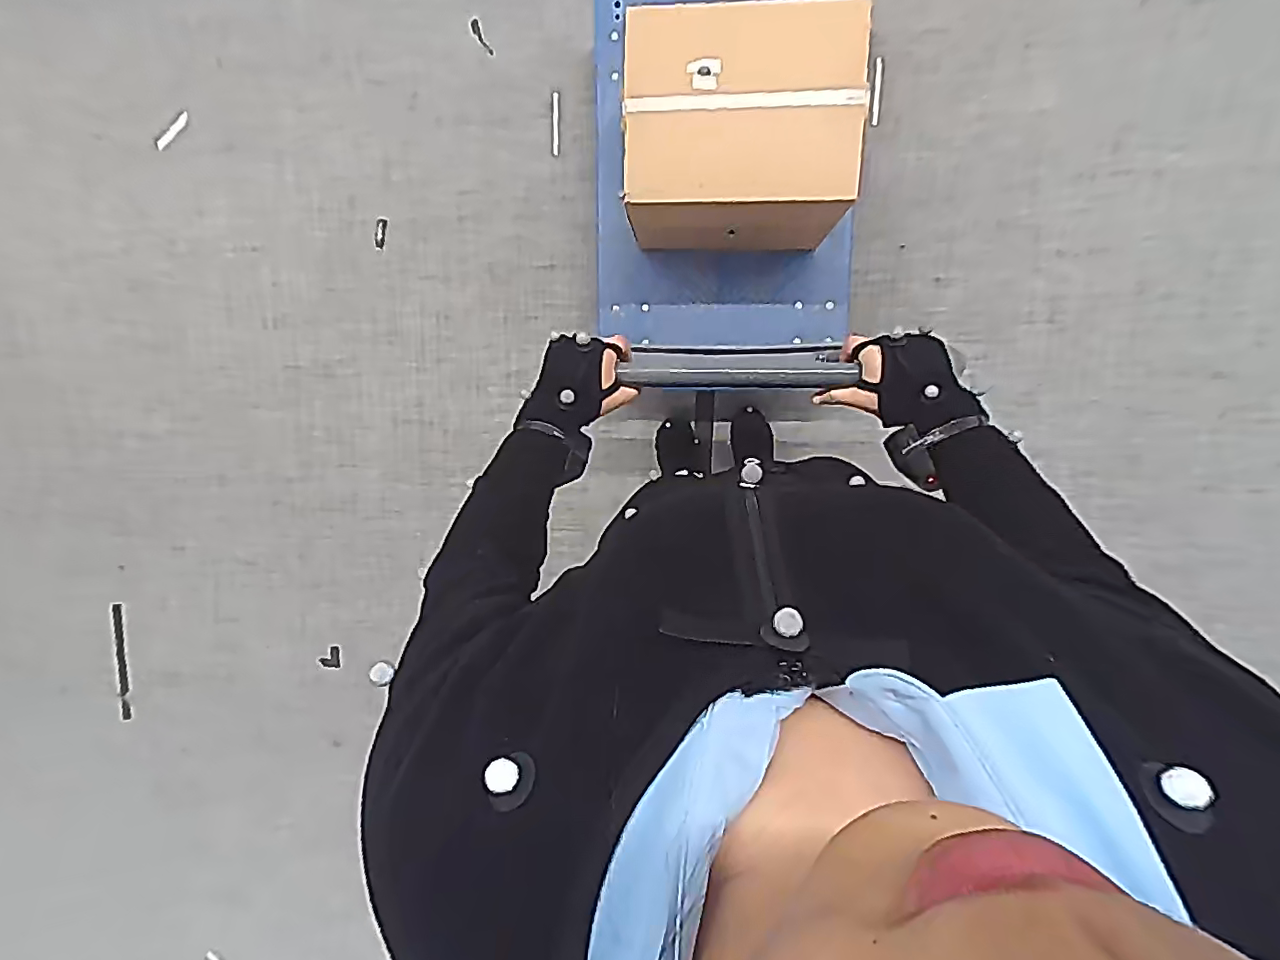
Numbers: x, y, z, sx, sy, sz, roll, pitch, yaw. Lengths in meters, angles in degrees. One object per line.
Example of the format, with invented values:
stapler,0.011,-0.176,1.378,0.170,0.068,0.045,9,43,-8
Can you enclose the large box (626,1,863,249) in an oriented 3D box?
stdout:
large box,0.190,-0.663,1.078,0.408,0.320,0.320,2,98,6
